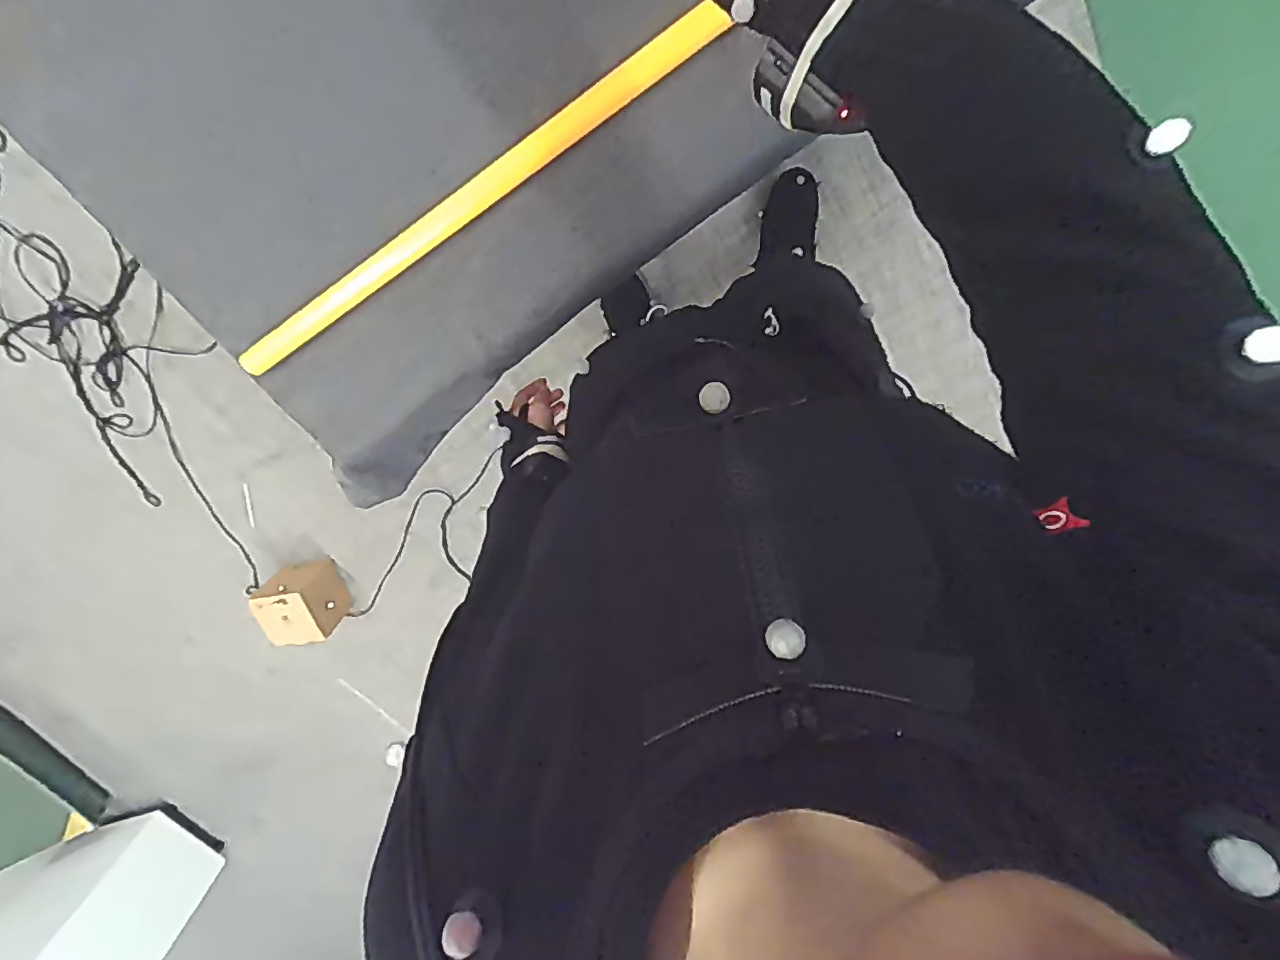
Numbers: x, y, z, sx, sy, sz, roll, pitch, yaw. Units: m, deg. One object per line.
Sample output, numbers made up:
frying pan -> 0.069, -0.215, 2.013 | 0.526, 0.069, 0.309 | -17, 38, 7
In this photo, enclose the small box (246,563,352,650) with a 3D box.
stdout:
small box -> -0.987, 0.369, 1.587 | 0.168, 0.176, 0.179 | -9, 116, 7
